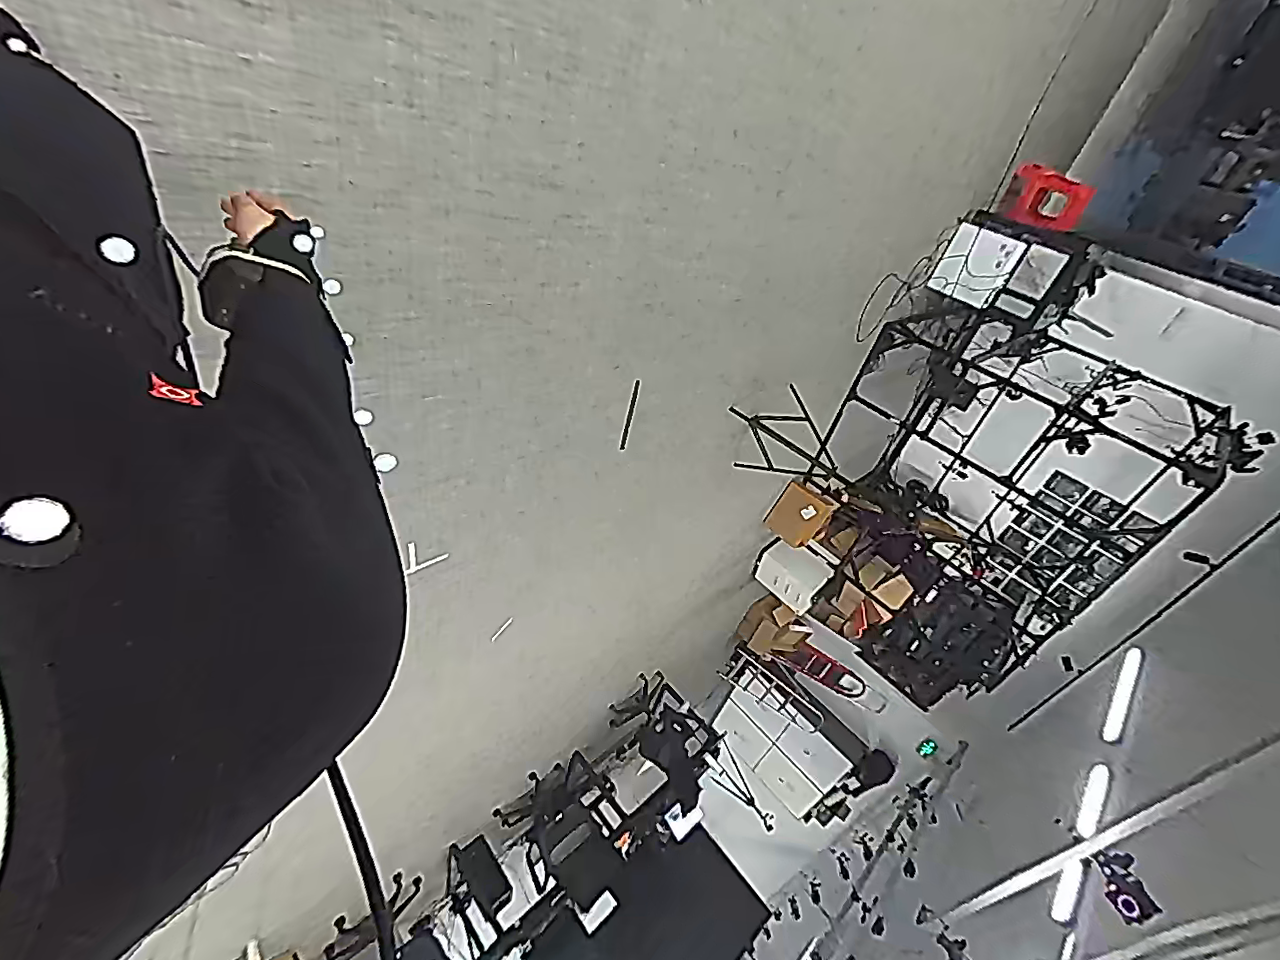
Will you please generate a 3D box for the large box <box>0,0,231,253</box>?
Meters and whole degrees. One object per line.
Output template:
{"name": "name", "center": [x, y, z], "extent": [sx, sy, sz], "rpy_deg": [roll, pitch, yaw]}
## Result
{"name": "large box", "center": [-0.678, -0.477, 0.472], "extent": [0.320, 0.320, 0.408], "rpy_deg": [-38, -173, -20]}
